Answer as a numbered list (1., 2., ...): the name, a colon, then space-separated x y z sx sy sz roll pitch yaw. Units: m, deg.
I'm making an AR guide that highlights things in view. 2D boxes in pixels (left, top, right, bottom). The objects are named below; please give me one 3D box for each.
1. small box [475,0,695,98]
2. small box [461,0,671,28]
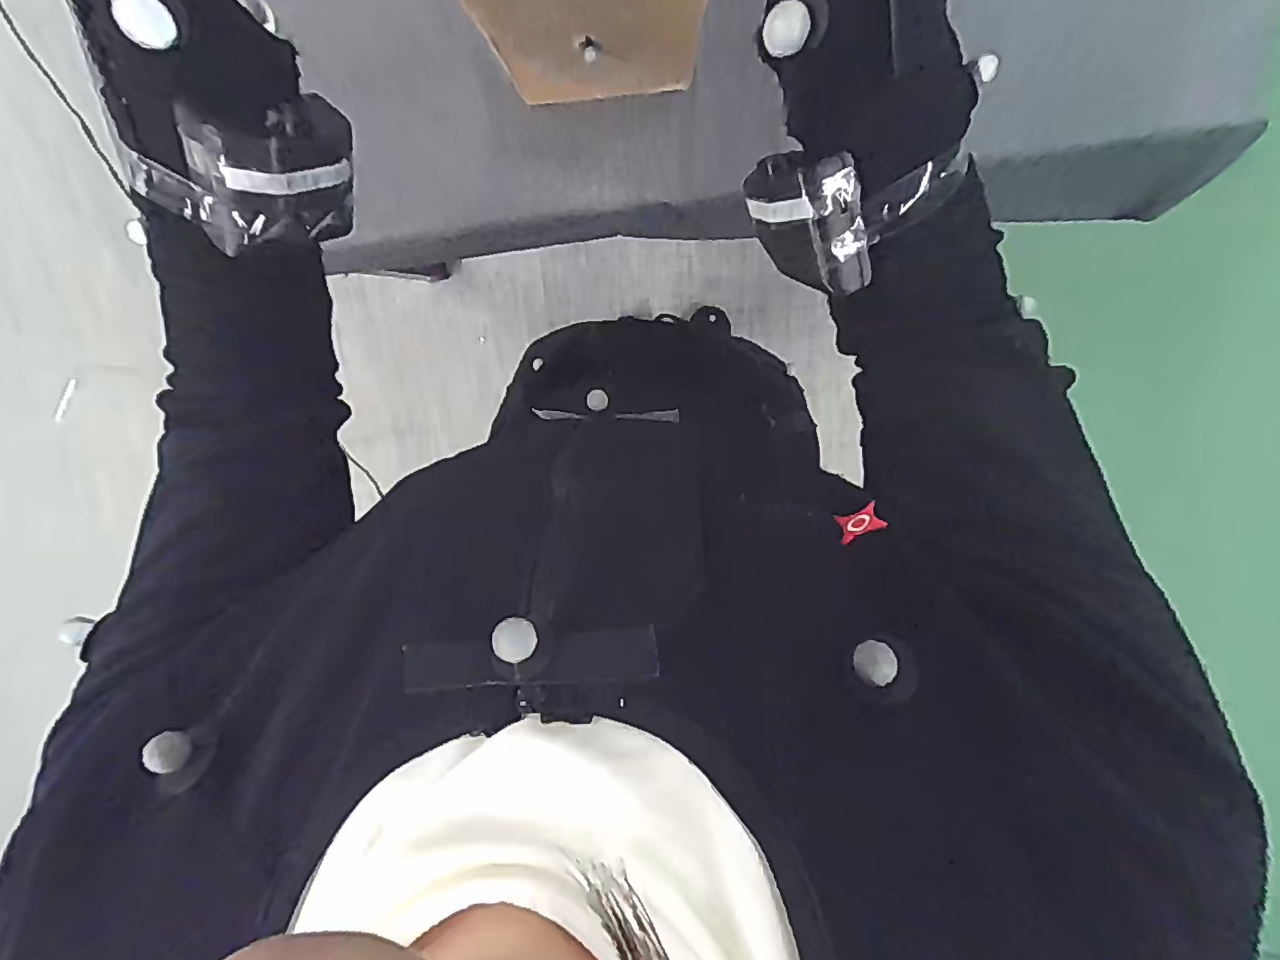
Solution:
1. small box: -0.044 -0.459 0.467 0.179 0.176 0.168 -4 108 4
2. small box: -0.050 -0.404 0.312 0.179 0.176 0.168 -3 108 5
